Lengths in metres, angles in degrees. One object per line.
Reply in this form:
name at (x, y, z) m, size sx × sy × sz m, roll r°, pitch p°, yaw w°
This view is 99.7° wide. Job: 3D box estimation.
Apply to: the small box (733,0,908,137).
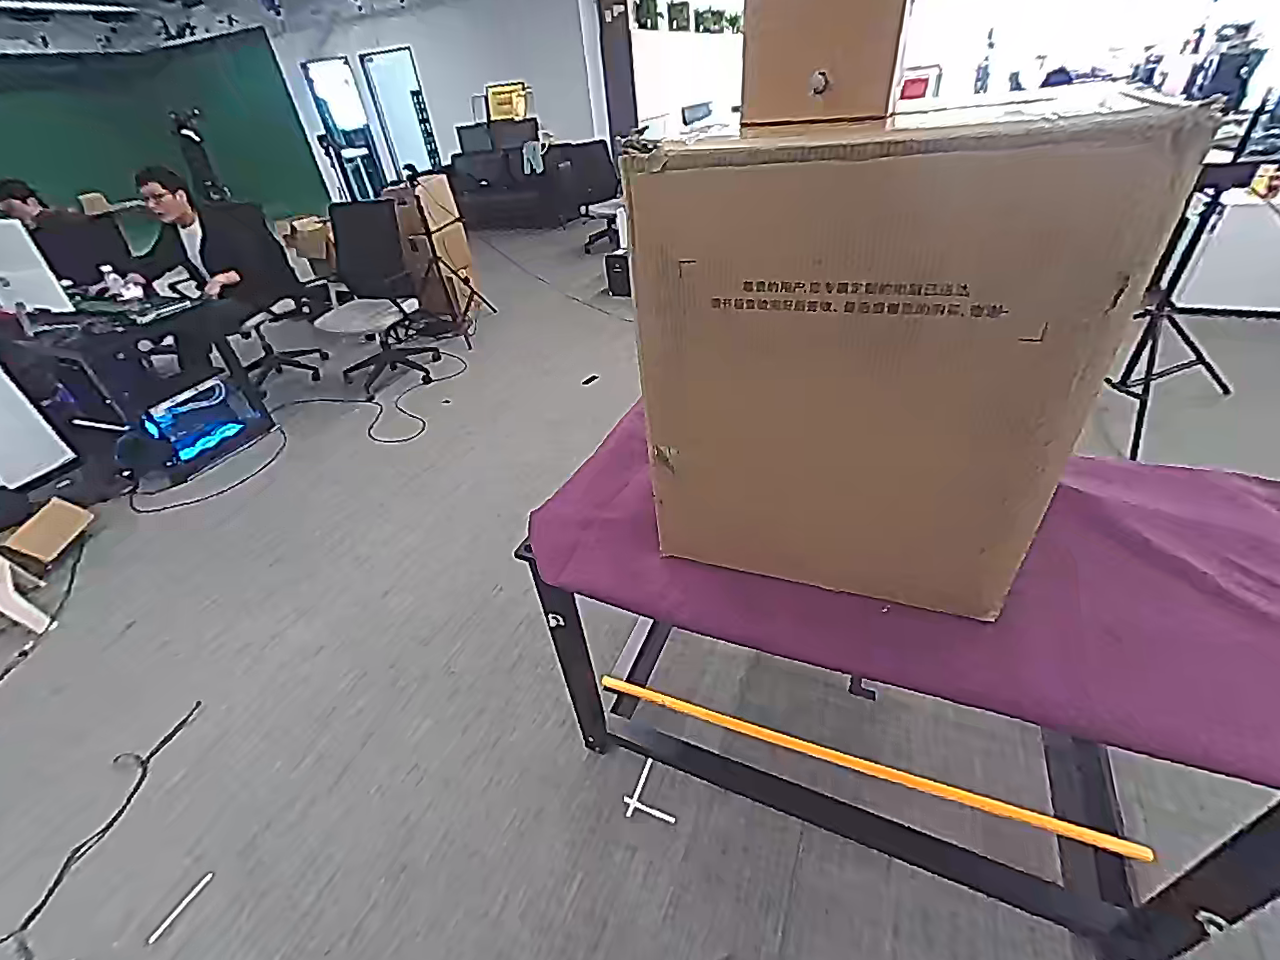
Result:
small box at (0.222, -0.531, 0.661) m, size 0.179 × 0.176 × 0.168 m, roll 11°, pitch 41°, yaw 22°
